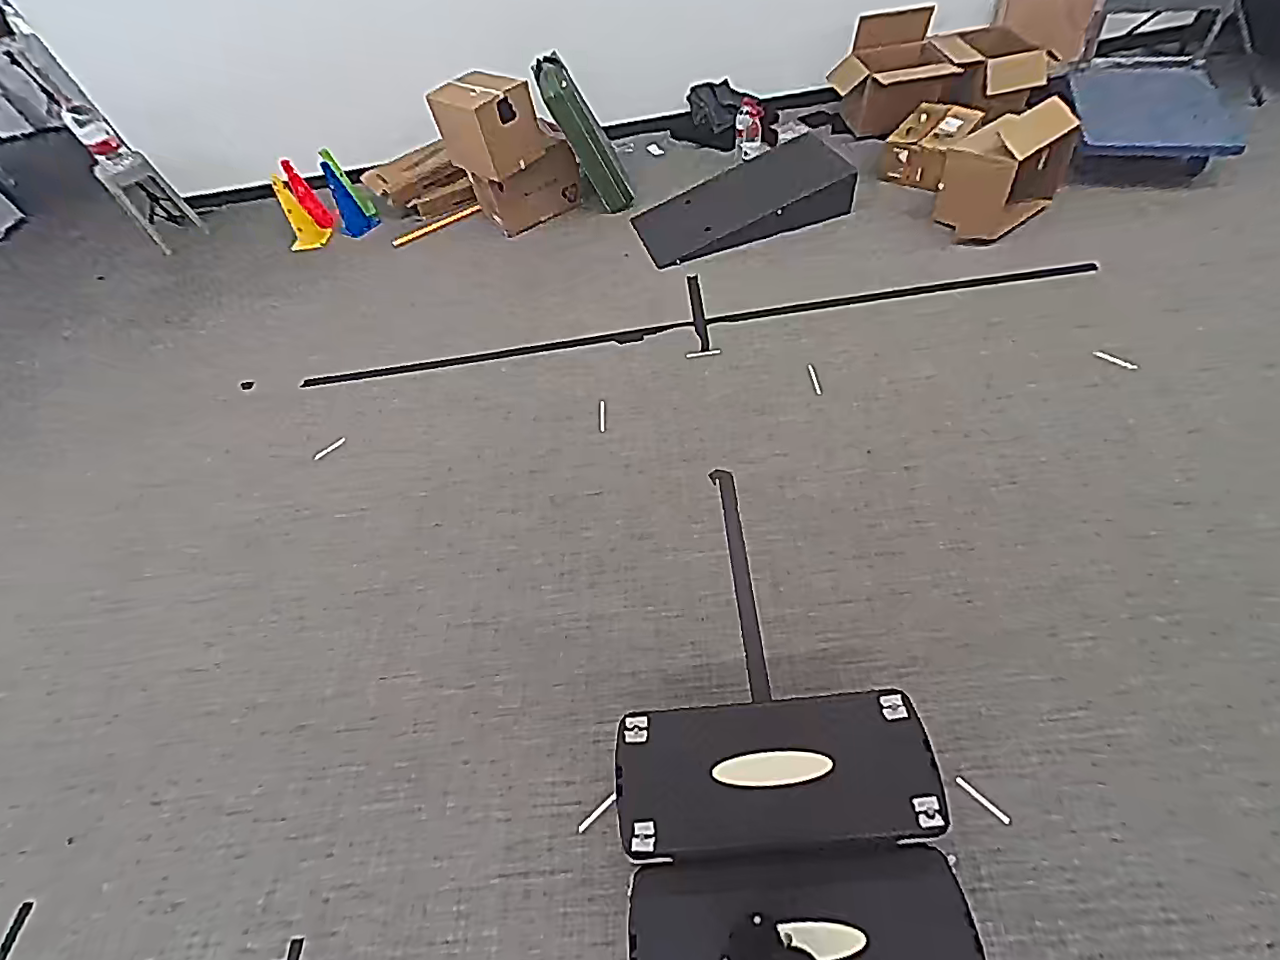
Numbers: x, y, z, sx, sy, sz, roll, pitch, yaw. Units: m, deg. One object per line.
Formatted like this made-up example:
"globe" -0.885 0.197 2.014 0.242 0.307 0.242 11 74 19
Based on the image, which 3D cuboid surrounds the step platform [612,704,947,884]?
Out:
"step platform" 0.278 0.684 1.187 0.684 0.204 0.286 -7 54 3
